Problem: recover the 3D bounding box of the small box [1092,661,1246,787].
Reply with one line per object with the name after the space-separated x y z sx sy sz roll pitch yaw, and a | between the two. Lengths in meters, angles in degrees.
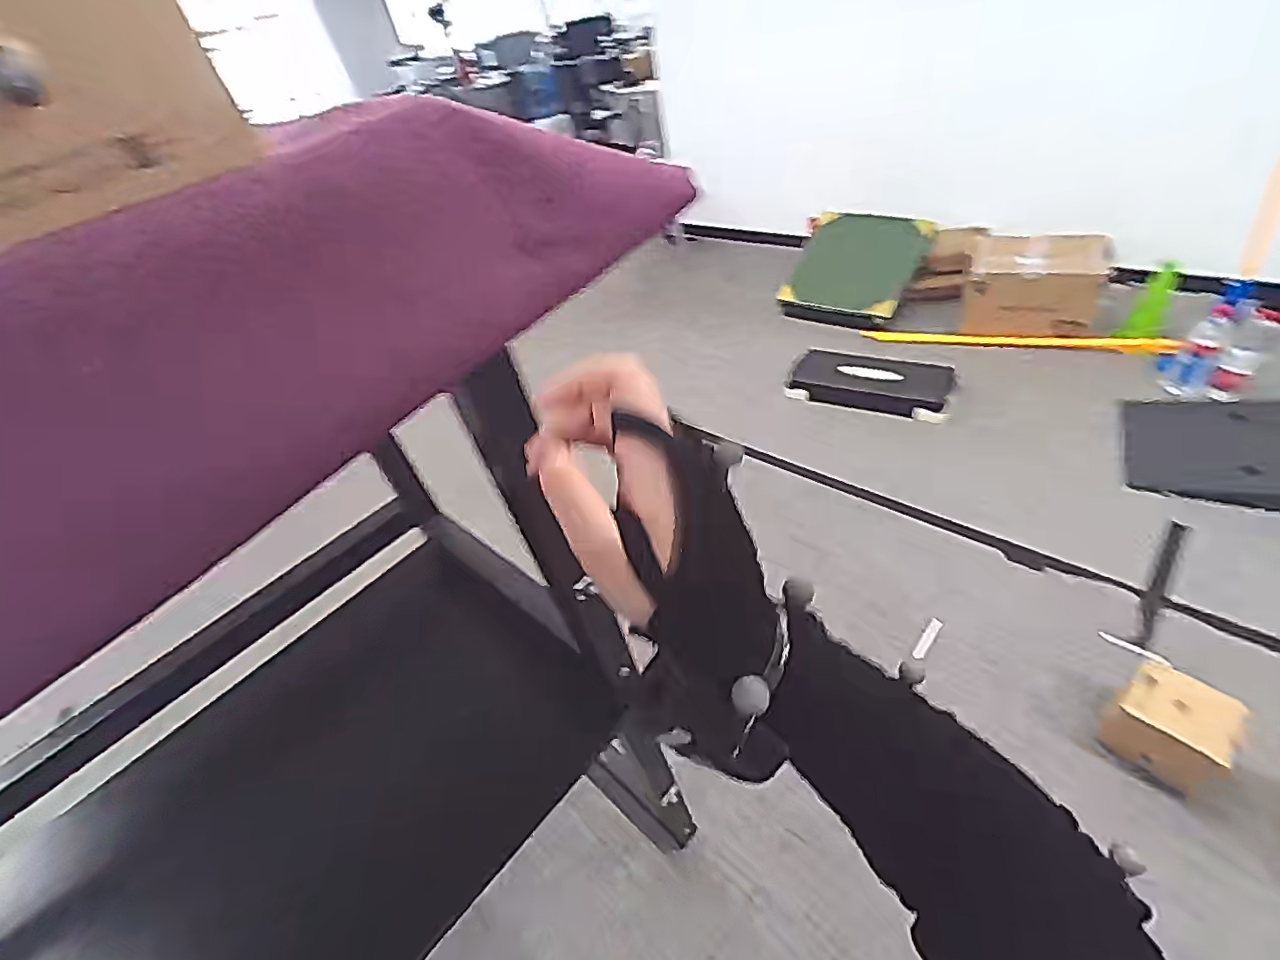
1.171 0.551 1.209 0.168 0.176 0.179 -37 48 -24 | small box
